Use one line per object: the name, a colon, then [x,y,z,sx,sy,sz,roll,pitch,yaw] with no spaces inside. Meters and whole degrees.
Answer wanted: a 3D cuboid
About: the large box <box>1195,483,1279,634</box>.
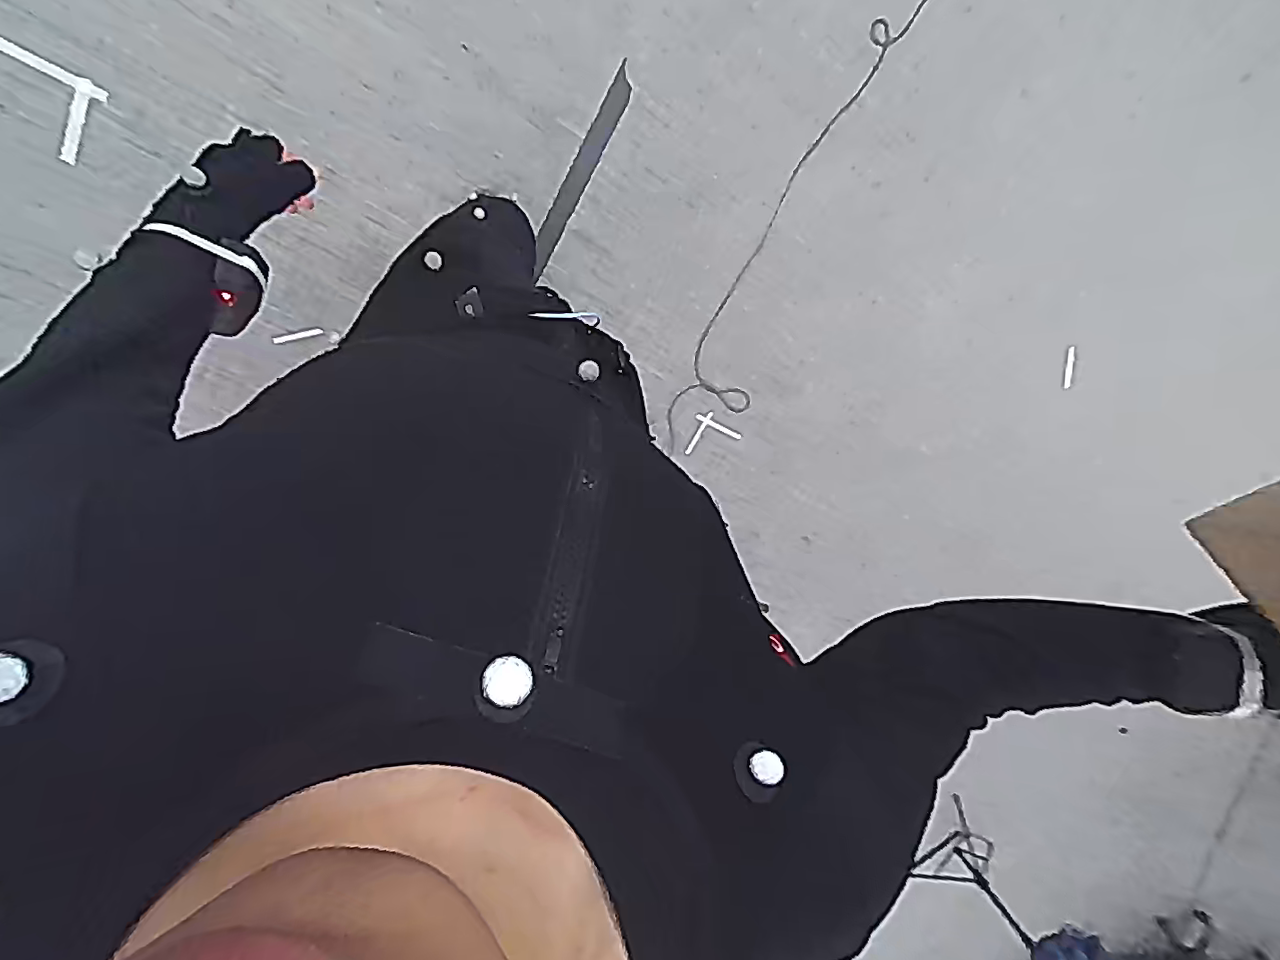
large box: [0.461,0.075,0.130,0.320,0.320,0.408,-39,157,32]
